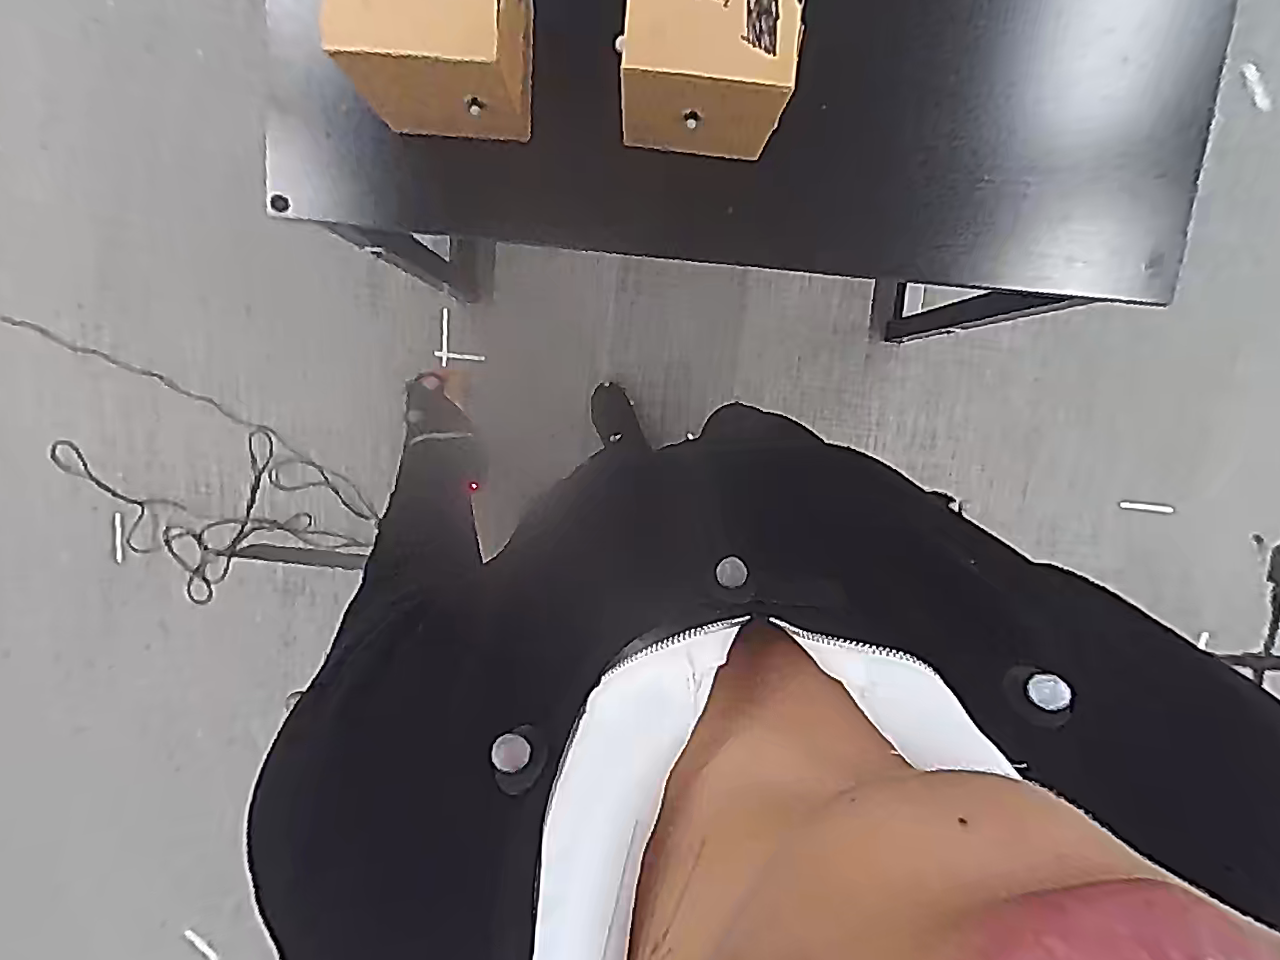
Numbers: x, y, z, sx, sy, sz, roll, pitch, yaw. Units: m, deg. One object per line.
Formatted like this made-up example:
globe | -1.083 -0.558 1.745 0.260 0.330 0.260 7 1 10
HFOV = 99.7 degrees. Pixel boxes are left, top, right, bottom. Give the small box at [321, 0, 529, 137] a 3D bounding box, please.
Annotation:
small box | -0.223 -0.508 0.600 0.179 0.176 0.168 2 98 -1

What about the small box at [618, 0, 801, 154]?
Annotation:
small box | 0.072 -0.492 0.605 0.179 0.176 0.168 6 98 -1
